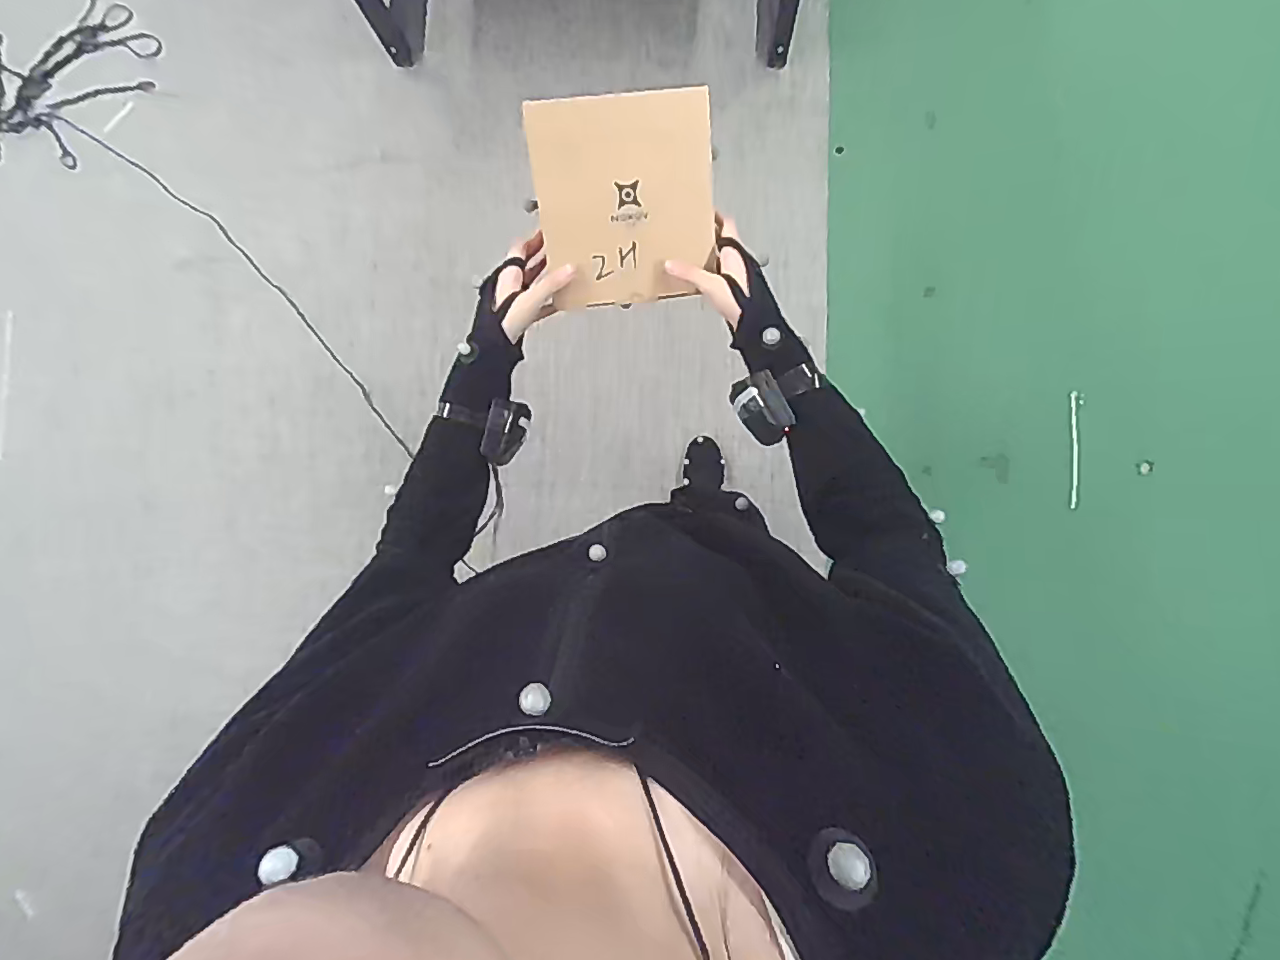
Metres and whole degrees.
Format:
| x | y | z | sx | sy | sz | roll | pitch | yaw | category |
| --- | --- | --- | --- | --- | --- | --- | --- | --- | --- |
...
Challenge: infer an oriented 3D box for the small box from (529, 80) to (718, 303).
| x | y | z | sx | sy | sz | roll | pitch | yaw | category |
| --- | --- | --- | --- | --- | --- | --- | --- | --- | --- |
| -0.020 | -0.291 | 0.572 | 0.168 | 0.176 | 0.179 | -7 | 114 | -4 | small box |
